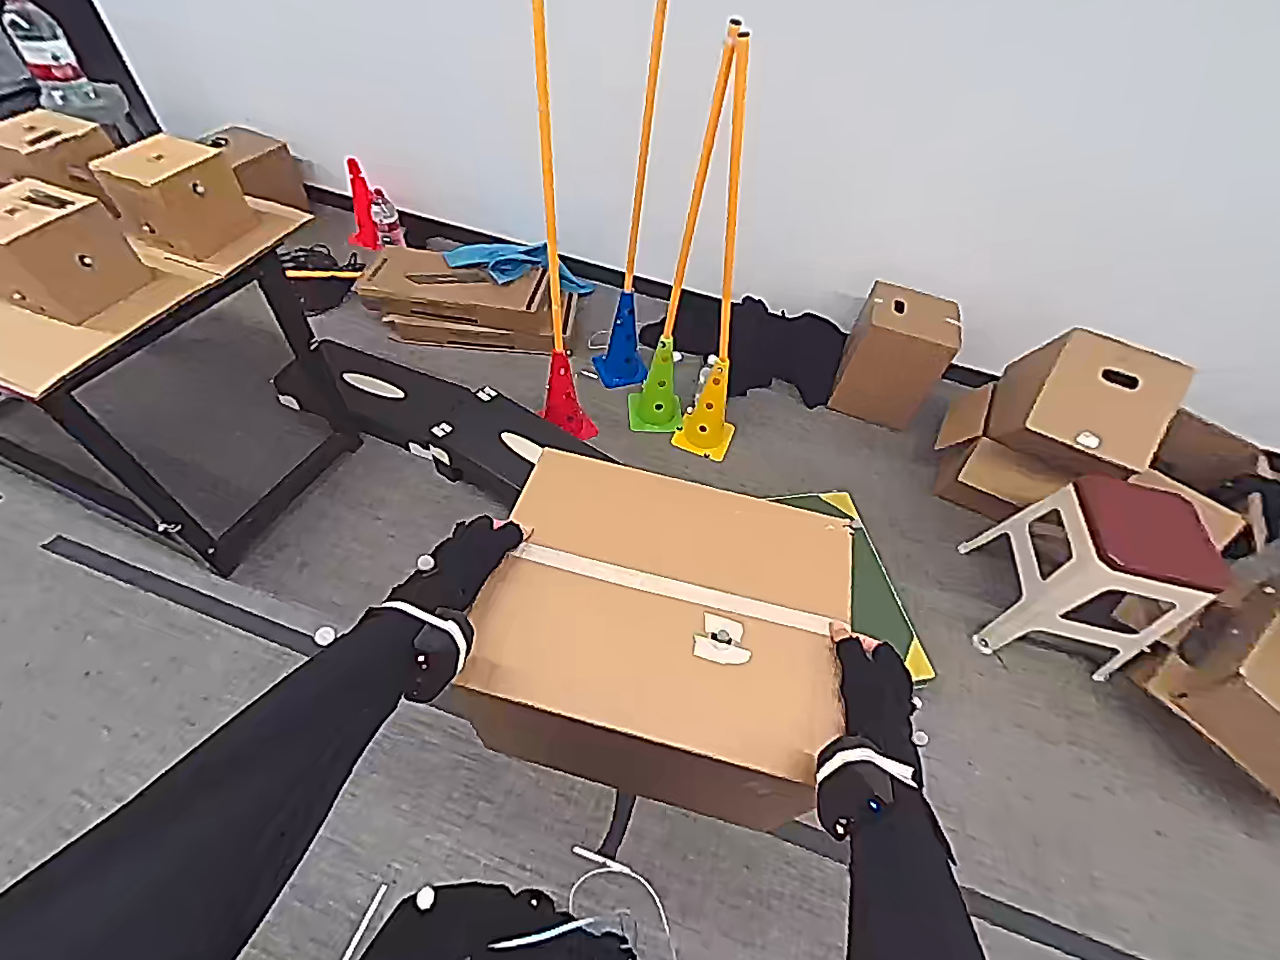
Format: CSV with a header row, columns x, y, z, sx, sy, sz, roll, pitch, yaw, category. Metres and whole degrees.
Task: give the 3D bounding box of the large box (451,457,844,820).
x,y,z,sx,sy,sz,roll,pitch,yaw,category
0.020,0.218,0.733,0.408,0.320,0.320,14,53,5,large box
